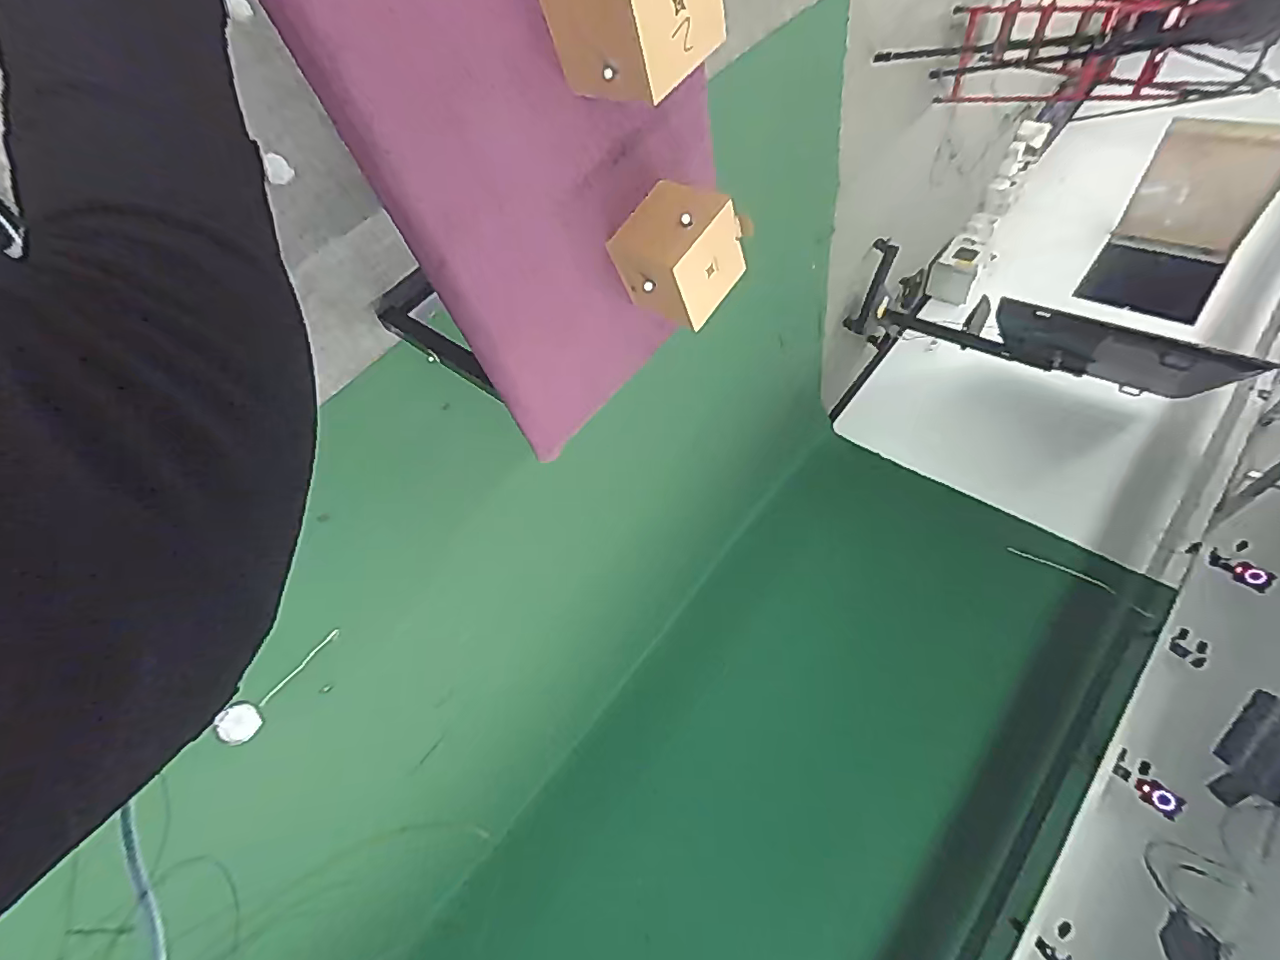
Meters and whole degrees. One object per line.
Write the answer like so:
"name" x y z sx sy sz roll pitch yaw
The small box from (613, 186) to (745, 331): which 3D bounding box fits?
"small box" 0.069 -0.420 1.023 0.179 0.176 0.168 -53 149 -10
